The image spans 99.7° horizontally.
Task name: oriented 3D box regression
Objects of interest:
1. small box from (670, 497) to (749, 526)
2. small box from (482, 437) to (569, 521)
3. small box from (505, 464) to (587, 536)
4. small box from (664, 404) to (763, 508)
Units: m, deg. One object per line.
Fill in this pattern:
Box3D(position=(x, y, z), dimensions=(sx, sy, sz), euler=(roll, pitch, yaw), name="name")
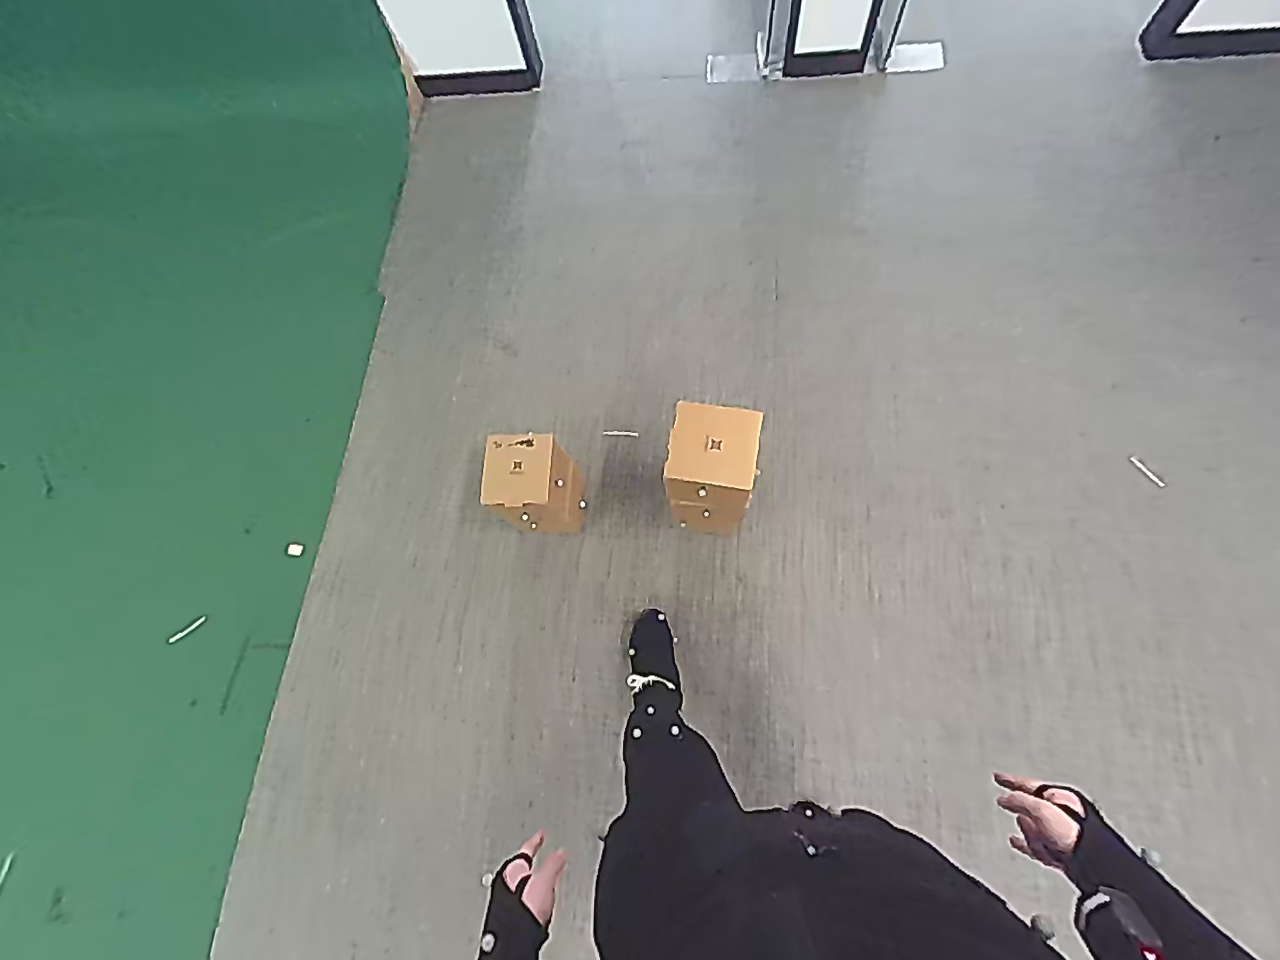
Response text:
Box3D(position=(0.170, 0.008, 1.300), dimensions=(0.179, 0.176, 0.168), euler=(4, 73, 7), name="small box")
Box3D(position=(-0.278, 0.004, 1.353), dimensions=(0.168, 0.176, 0.179), euler=(-1, 73, 6), name="small box")
Box3D(position=(-0.257, 0.056, 1.507), dimensions=(0.179, 0.176, 0.168), euler=(2, 72, 6), name="small box")
Box3D(position=(0.156, -0.044, 1.148), dimensions=(0.179, 0.176, 0.168), euler=(8, 74, 9), name="small box")
